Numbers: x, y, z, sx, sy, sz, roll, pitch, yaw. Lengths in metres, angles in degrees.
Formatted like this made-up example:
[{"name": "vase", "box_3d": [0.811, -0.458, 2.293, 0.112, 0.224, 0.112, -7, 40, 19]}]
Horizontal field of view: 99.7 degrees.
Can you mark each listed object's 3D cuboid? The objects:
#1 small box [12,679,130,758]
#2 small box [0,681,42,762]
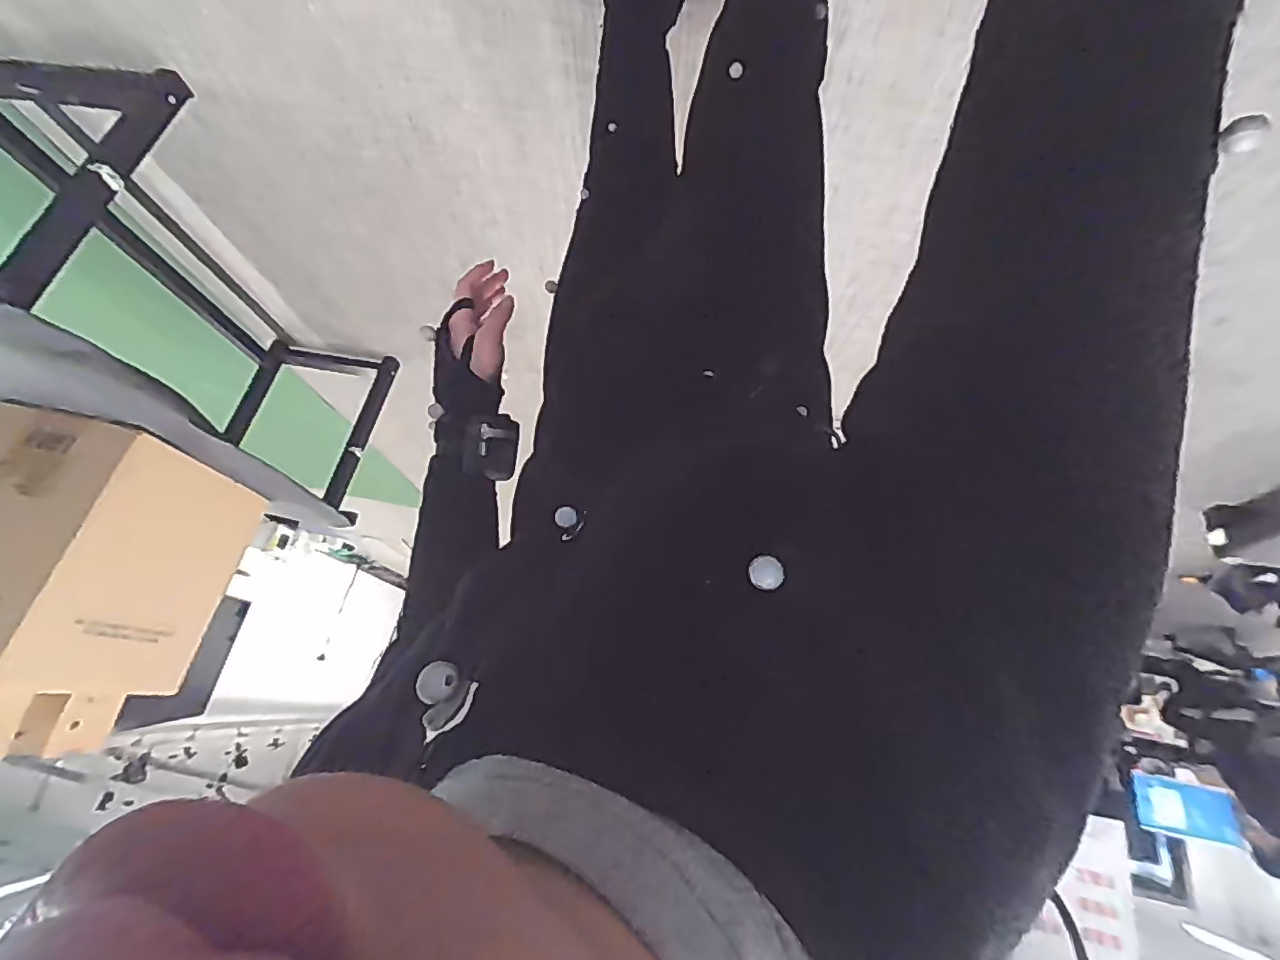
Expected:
[{"name": "small box", "box_3d": [-1.548, 0.639, 1.463, 0.179, 0.176, 0.168, 8, 157, 3]}, {"name": "small box", "box_3d": [-1.547, 0.543, 1.225, 0.168, 0.176, 0.179, 8, 159, 1]}]
